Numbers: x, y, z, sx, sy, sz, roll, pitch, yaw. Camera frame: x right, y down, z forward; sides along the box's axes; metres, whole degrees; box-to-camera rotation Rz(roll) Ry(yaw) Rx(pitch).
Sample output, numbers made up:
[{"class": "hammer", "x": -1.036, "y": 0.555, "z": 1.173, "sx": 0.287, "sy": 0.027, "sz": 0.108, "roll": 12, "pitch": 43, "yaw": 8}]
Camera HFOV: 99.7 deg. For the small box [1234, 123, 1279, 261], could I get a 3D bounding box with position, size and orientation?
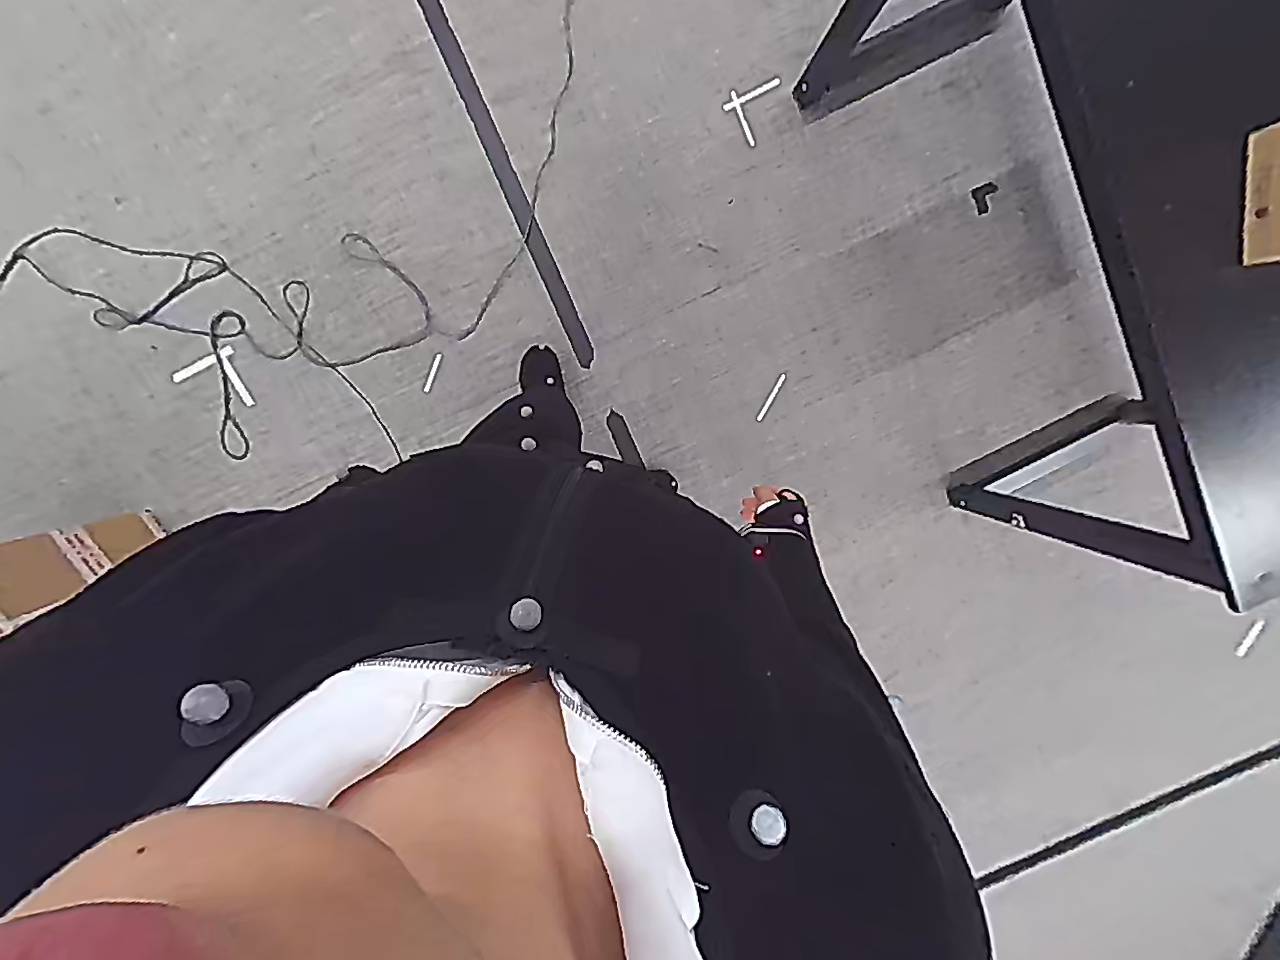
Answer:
[{"class": "small box", "x": 0.901, "y": -0.379, "z": 0.663, "sx": 0.179, "sy": 0.176, "sz": 0.168, "roll": -7, "pitch": 99, "yaw": -2}]
